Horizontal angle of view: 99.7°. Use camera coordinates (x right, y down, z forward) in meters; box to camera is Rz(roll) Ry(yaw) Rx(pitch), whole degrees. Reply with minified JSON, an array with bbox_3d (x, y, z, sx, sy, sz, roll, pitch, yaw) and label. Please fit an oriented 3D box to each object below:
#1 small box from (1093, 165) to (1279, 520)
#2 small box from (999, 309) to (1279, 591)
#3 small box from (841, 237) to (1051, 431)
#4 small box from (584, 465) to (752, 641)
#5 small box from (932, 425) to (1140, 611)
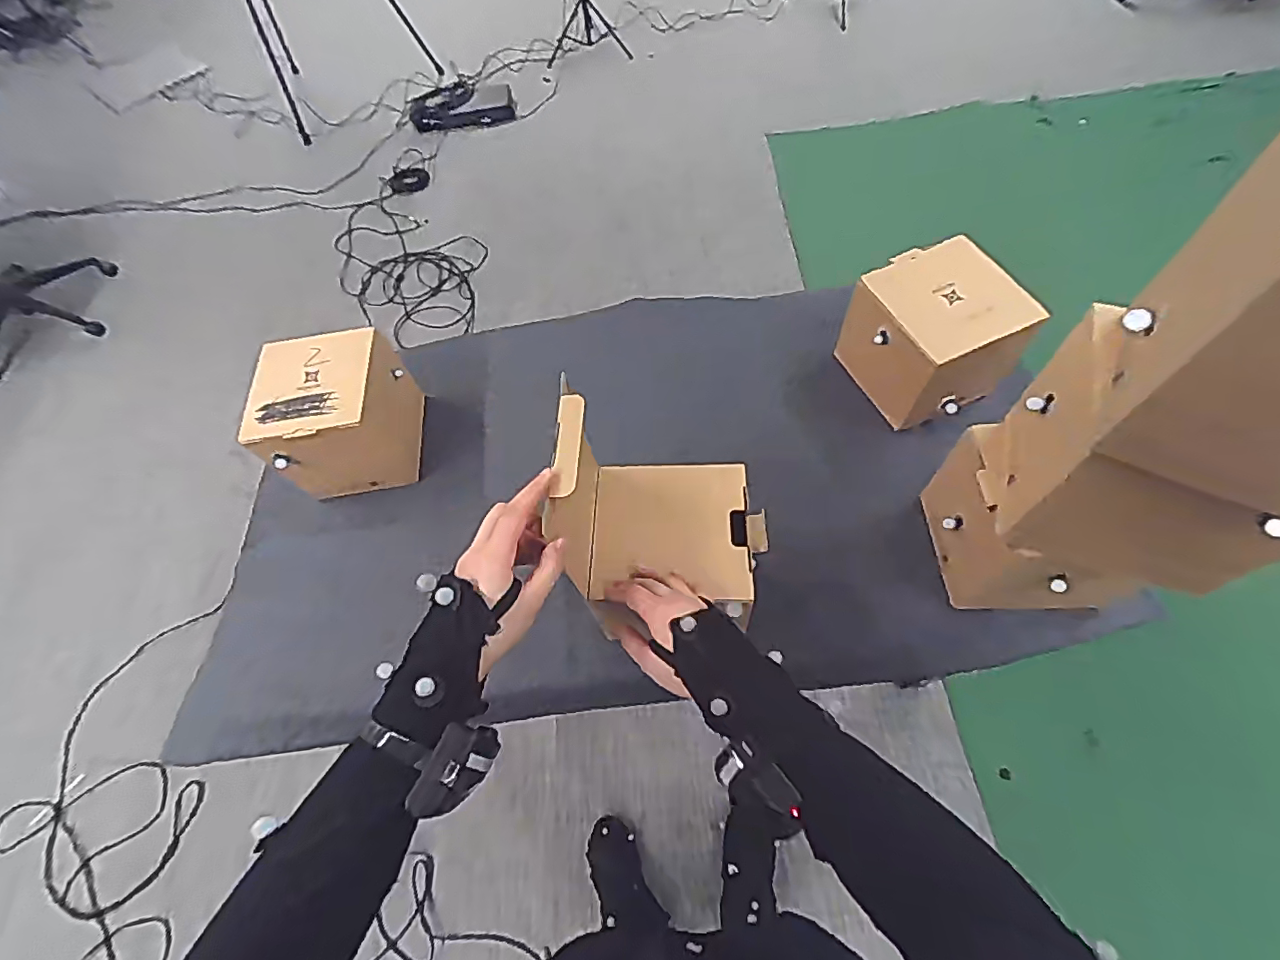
[{"bbox_3d":[0.440,-0.084,0.331,0.179,0.176,0.168,26,65,20],"label":"small box"},{"bbox_3d":[0.456,-0.020,0.484,0.179,0.176,0.168,17,62,15],"label":"small box"},{"bbox_3d":[0.416,-0.202,0.776,0.168,0.176,0.179,-23,64,-4],"label":"small box"},{"bbox_3d":[0.039,0.094,0.657,0.179,0.176,0.168,-1,61,6],"label":"small box"},{"bbox_3d":[0.467,0.049,0.632,0.179,0.176,0.168,-2,59,6],"label":"small box"}]
